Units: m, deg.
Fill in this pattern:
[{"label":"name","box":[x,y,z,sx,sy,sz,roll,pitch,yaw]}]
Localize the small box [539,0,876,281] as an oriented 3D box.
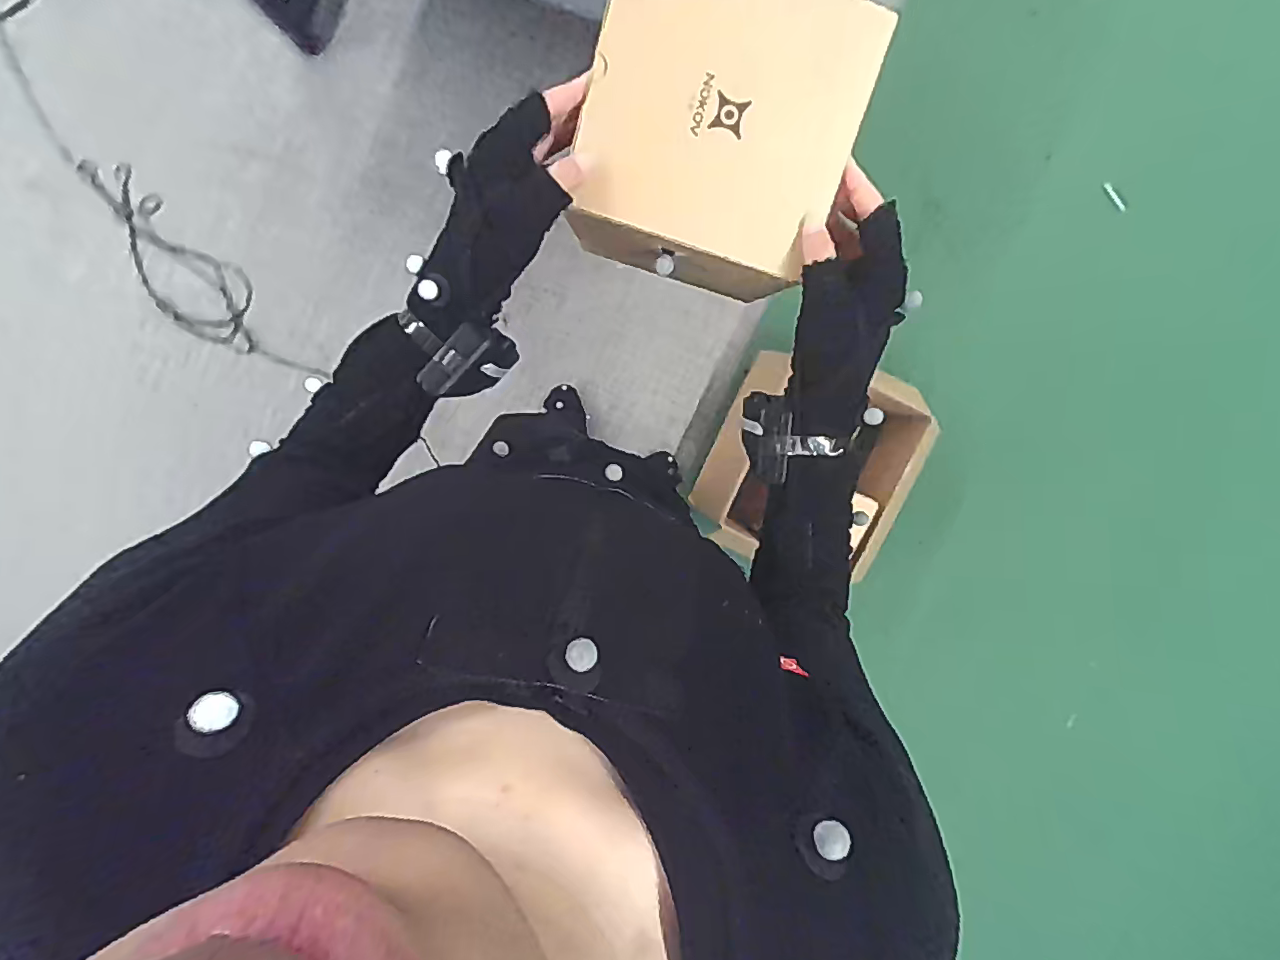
[{"label":"small box","box":[0.038,-0.259,0.413,0.179,0.176,0.168,14,104,-3]}]
